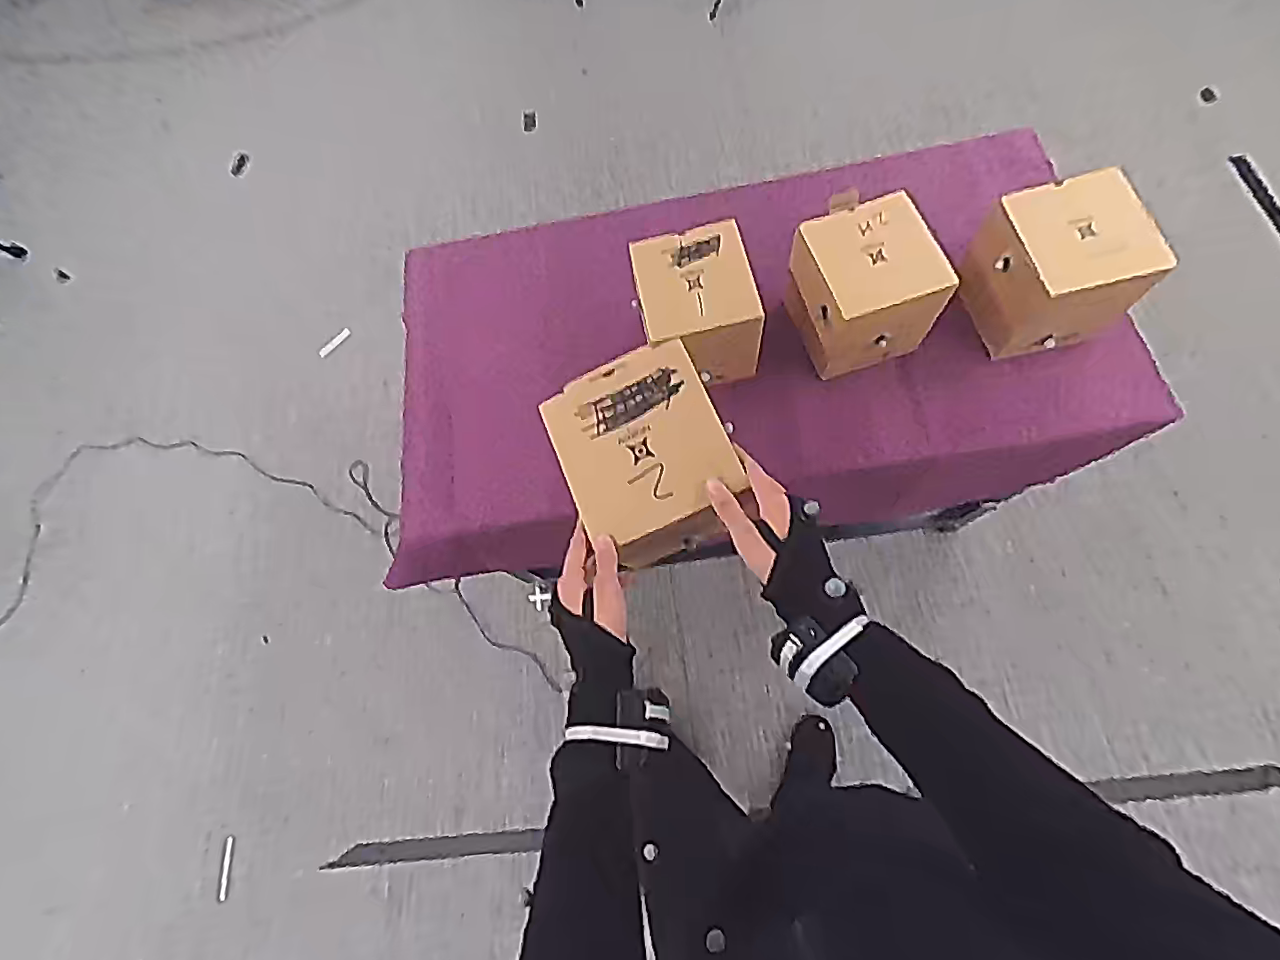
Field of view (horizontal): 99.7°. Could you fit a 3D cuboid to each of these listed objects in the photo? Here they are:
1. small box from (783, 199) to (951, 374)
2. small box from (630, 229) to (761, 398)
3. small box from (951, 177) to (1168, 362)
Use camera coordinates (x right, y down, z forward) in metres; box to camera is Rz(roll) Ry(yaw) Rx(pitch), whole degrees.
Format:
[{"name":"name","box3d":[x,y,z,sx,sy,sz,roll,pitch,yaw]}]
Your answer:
[{"name":"small box","box3d":[0.337,-0.287,0.842,0.168,0.176,0.179,-18,69,0]},{"name":"small box","box3d":[0.085,-0.258,0.865,0.168,0.176,0.179,-12,70,3]},{"name":"small box","box3d":[0.607,-0.308,0.815,0.168,0.176,0.179,-13,69,4]}]
